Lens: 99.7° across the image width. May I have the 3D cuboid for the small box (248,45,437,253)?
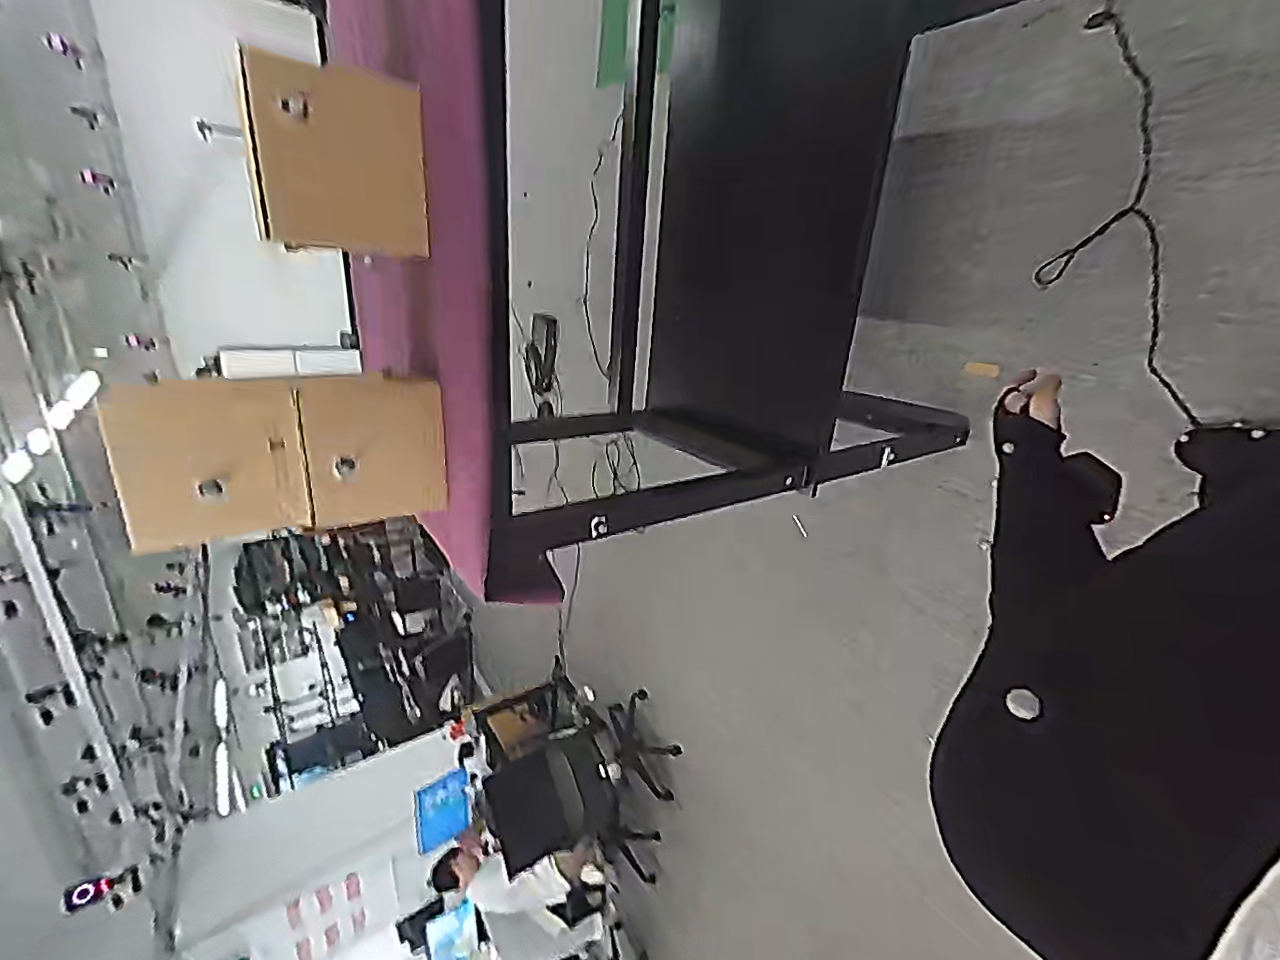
[{"bbox_3d":[-0.357,-0.380,0.657,0.168,0.176,0.179,30,123,49],"label":"small box"}]

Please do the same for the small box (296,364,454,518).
[{"bbox_3d":[-0.370,-0.066,0.762,0.168,0.176,0.179,24,117,50],"label":"small box"}]

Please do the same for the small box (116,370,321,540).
[{"bbox_3d":[-0.506,-0.045,0.676,0.179,0.176,0.168,25,119,51],"label":"small box"}]
